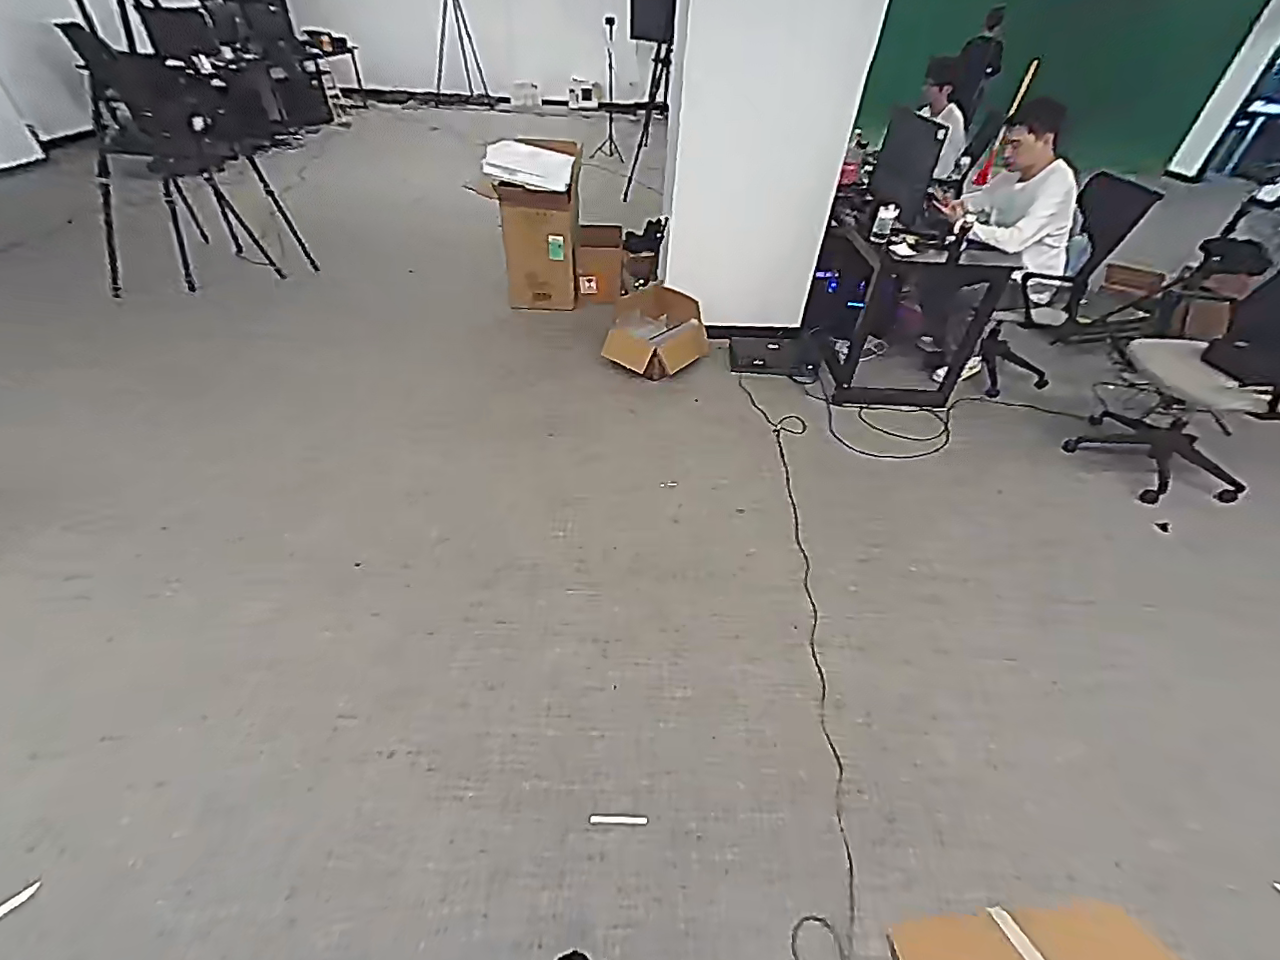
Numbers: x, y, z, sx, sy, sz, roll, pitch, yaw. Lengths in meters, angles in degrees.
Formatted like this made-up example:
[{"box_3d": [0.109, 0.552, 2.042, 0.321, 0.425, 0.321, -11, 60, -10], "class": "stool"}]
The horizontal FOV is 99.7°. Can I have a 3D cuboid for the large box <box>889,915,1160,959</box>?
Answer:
[{"box_3d": [0.504, 0.753, 0.551, 0.320, 0.408, 0.320, -9, 85, 5], "class": "large box"}]
